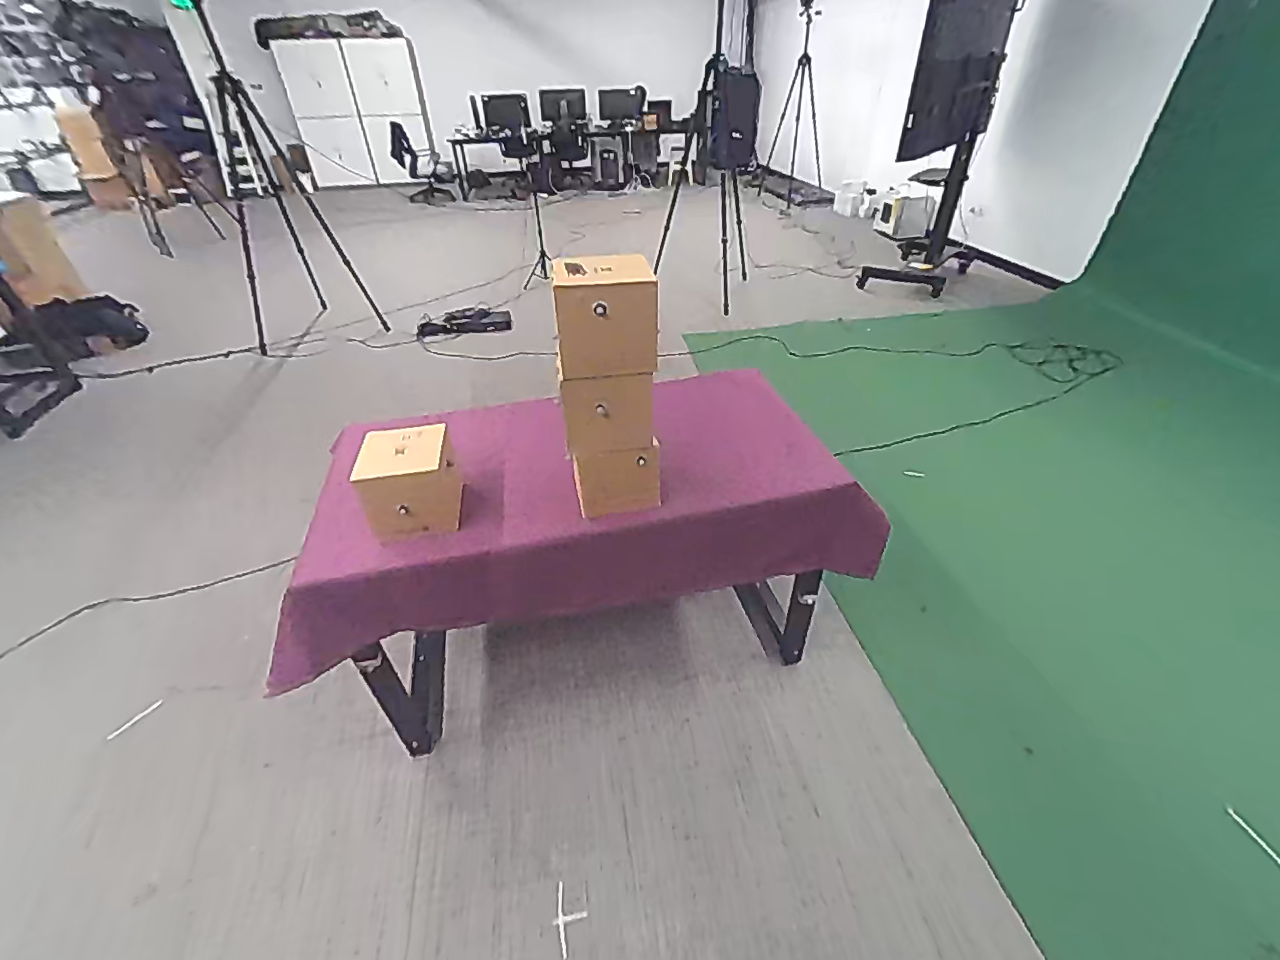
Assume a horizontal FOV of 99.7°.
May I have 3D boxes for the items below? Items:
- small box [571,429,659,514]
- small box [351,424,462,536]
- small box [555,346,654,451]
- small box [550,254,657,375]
[{"bbox_3d":[-0.059,-0.041,1.188,0.179,0.176,0.168,-8,38,-9],"label":"small box"},{"bbox_3d":[-0.482,0.004,1.147,0.168,0.176,0.179,-7,38,-8],"label":"small box"},{"bbox_3d":[-0.071,-0.170,1.087,0.179,0.176,0.168,-7,38,-5],"label":"small box"},{"bbox_3d":[-0.066,-0.301,0.986,0.179,0.176,0.168,-5,37,-6],"label":"small box"}]
